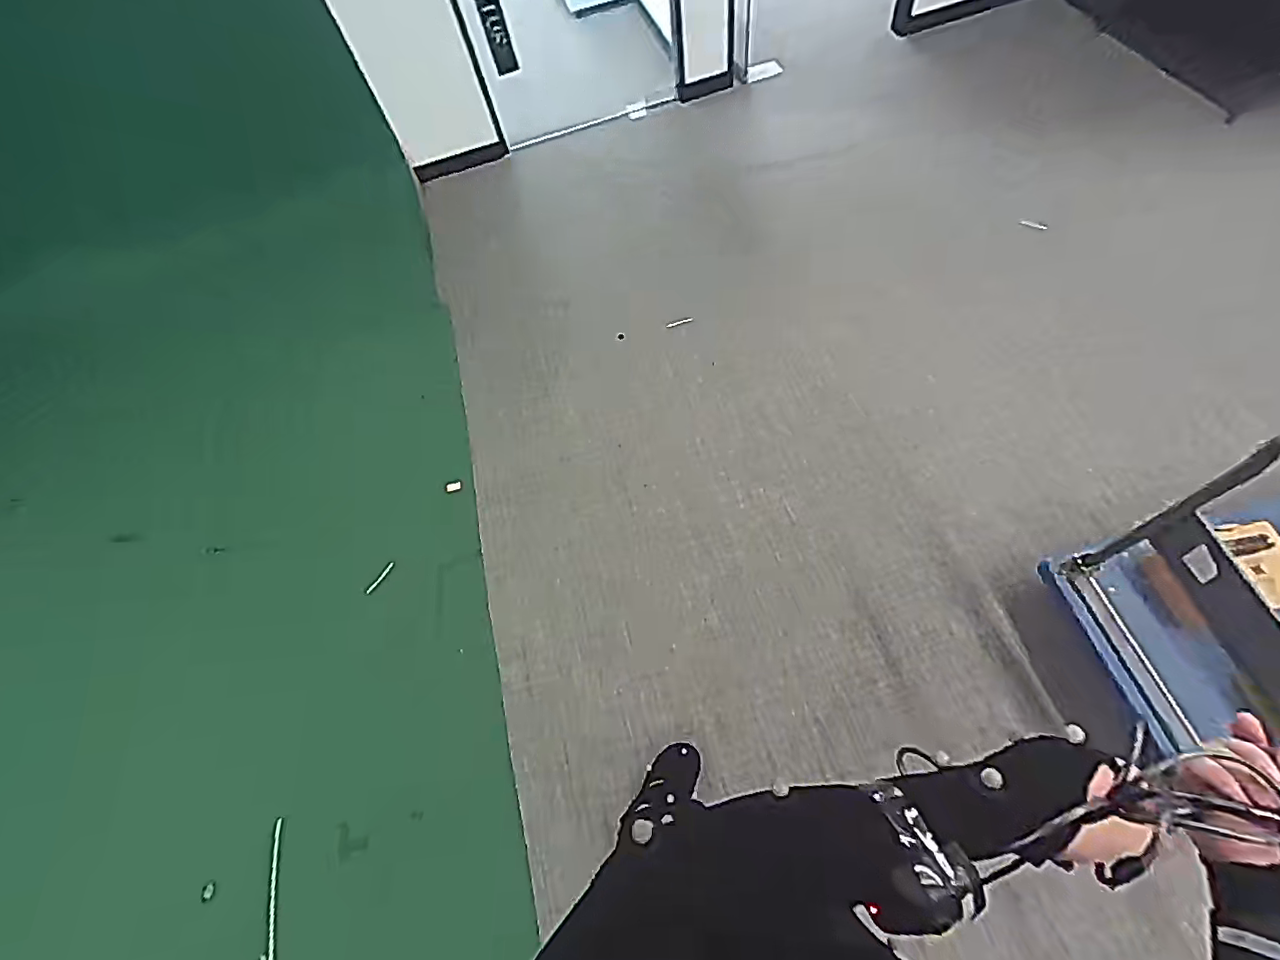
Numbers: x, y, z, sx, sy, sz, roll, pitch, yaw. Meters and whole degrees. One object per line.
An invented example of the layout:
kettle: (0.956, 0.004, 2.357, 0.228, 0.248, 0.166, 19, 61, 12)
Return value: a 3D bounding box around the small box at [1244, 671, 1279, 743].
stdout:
small box: (1.364, 0.441, 1.042, 0.179, 0.176, 0.168, -13, 61, 4)
